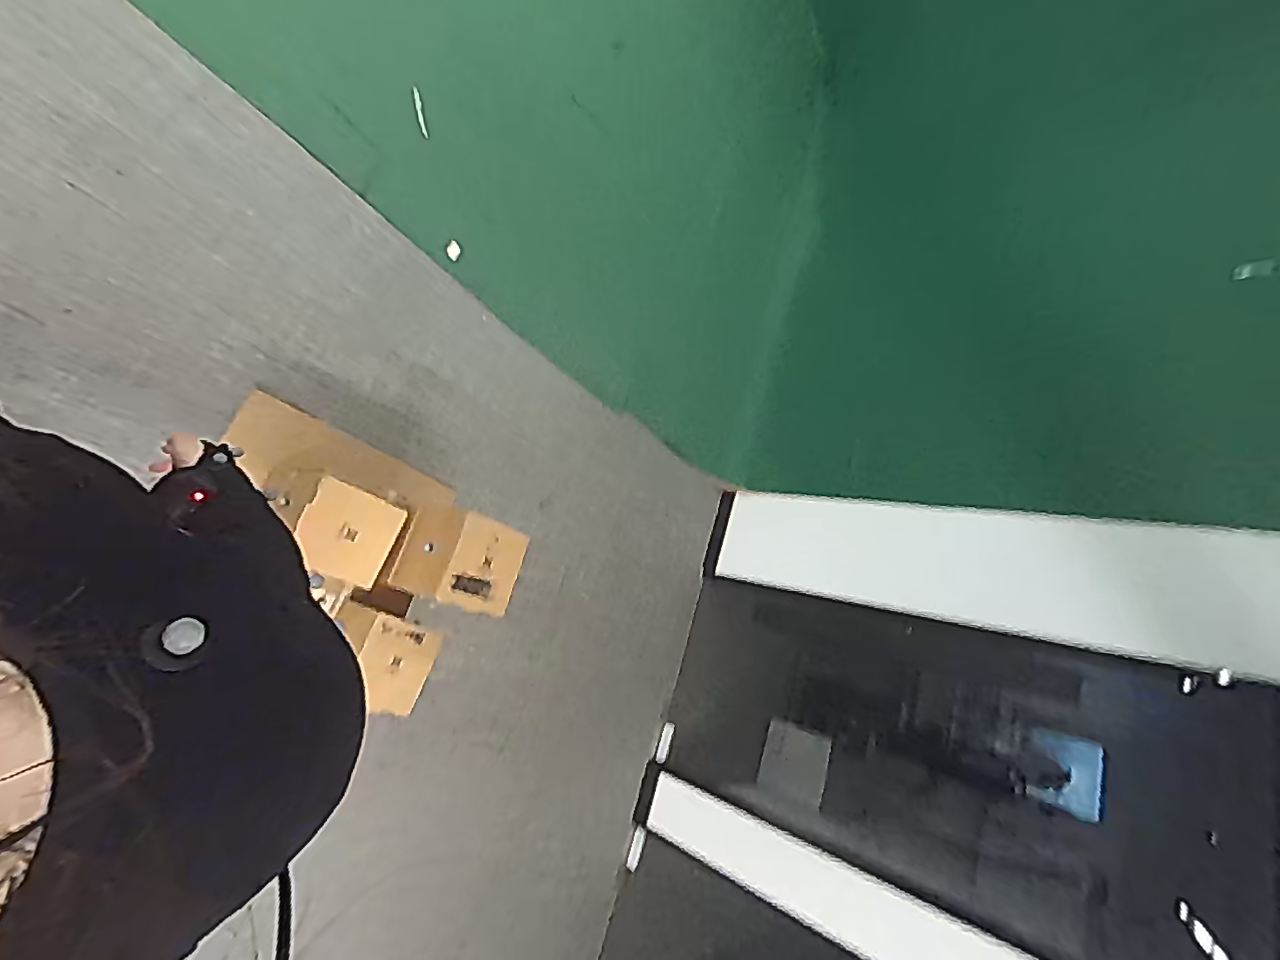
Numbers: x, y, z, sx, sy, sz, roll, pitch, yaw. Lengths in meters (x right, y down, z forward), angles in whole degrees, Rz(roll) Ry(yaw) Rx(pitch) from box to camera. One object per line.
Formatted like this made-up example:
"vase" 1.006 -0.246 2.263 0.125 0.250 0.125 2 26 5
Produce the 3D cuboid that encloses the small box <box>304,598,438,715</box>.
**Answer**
"small box" -0.571 0.367 1.139 0.168 0.176 0.179 43 59 -43

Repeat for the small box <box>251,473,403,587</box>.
"small box" -0.614 0.093 1.063 0.179 0.176 0.168 38 65 -44
